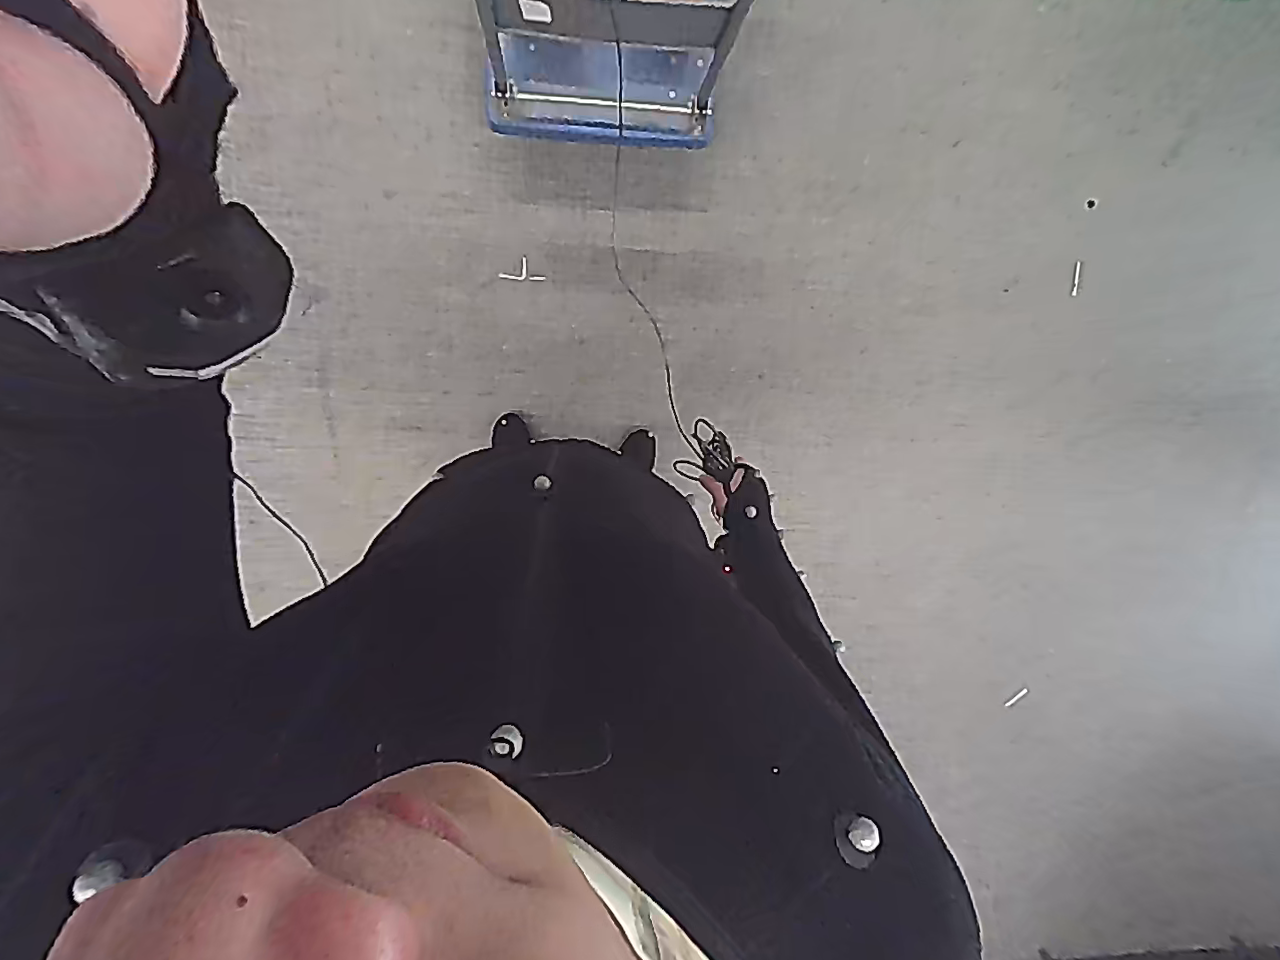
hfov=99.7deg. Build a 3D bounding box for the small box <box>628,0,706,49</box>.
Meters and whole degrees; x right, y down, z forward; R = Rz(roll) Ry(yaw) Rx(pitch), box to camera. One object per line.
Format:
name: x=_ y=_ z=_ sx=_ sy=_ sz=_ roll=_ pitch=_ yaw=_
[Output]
small box: x=0.062 y=-1.159 z=1.257 sx=0.168 sy=0.176 sz=0.179 roll=2 pitch=97 yaw=-6
